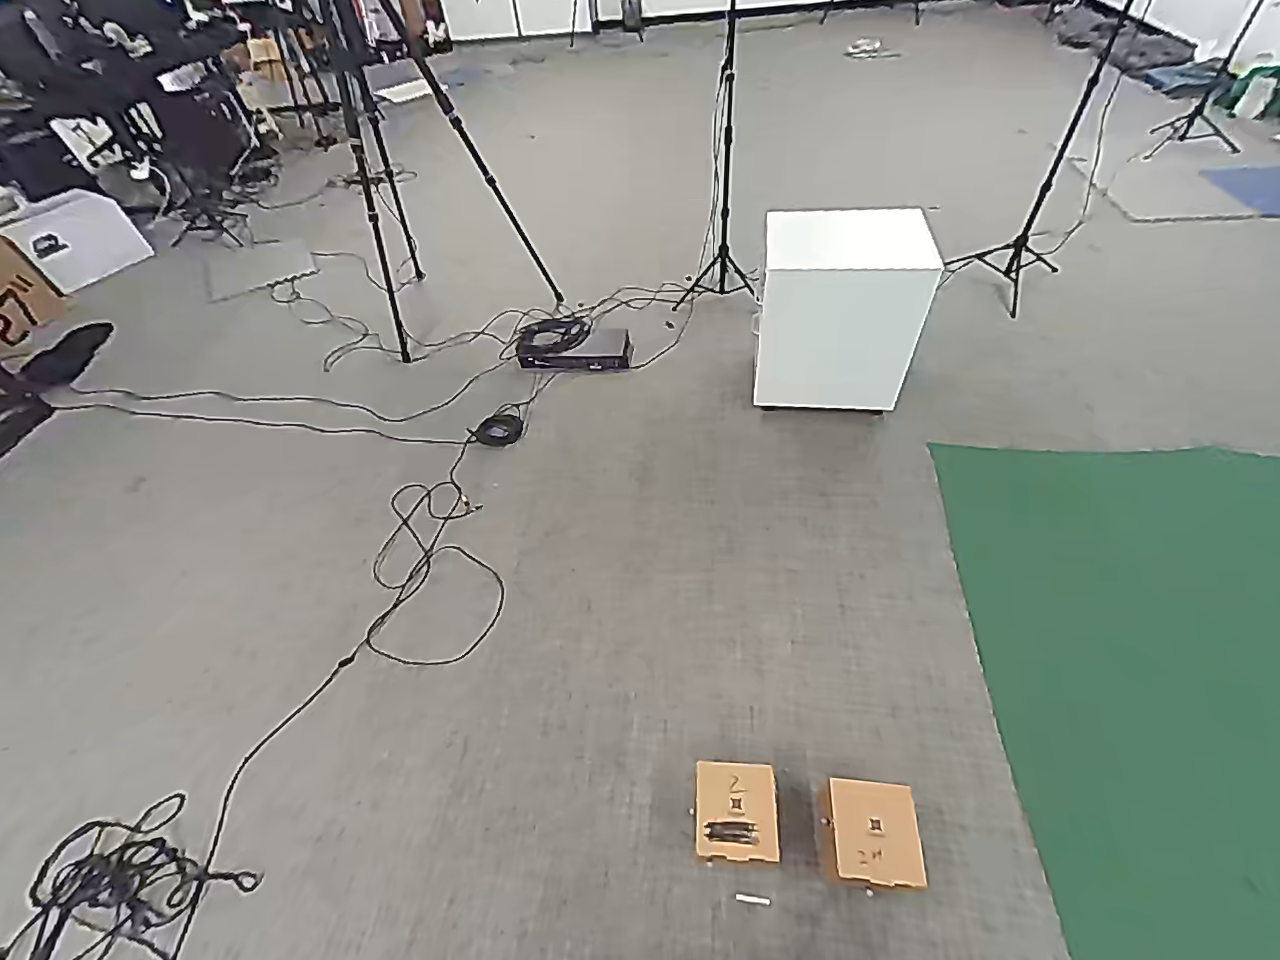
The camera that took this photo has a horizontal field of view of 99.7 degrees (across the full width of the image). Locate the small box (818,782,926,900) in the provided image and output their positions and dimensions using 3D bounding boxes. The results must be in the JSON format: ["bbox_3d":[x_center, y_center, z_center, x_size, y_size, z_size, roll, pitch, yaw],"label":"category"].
[{"bbox_3d":[0.479,0.766,1.147,0.168,0.176,0.179,3,50,9],"label":"small box"}]
